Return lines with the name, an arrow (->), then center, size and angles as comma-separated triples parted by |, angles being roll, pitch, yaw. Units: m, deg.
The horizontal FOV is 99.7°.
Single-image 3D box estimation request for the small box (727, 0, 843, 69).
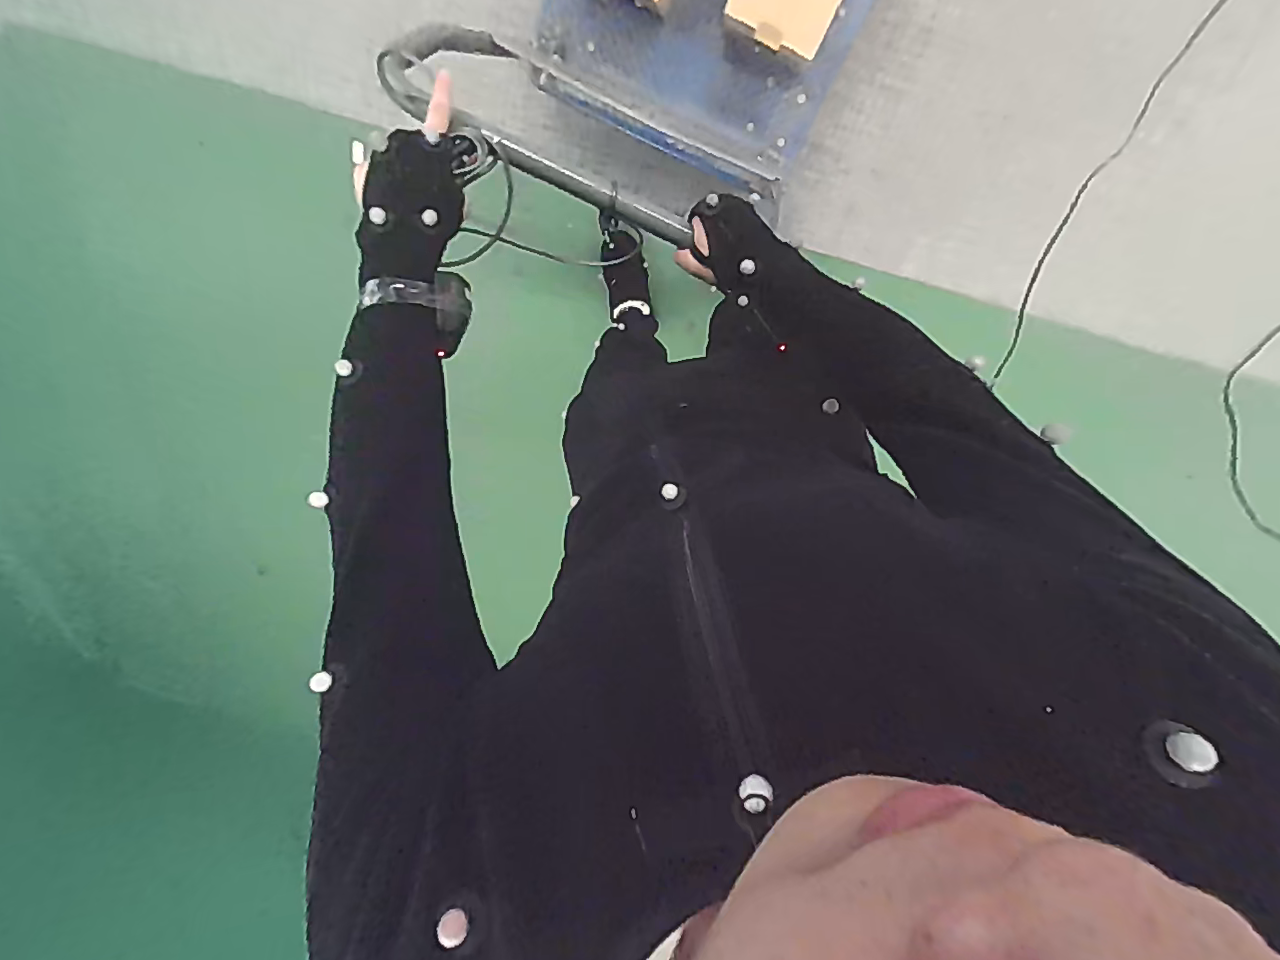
small box -> 0.256, -0.833, 0.911 | 0.168, 0.176, 0.179 | 24, 124, -6
